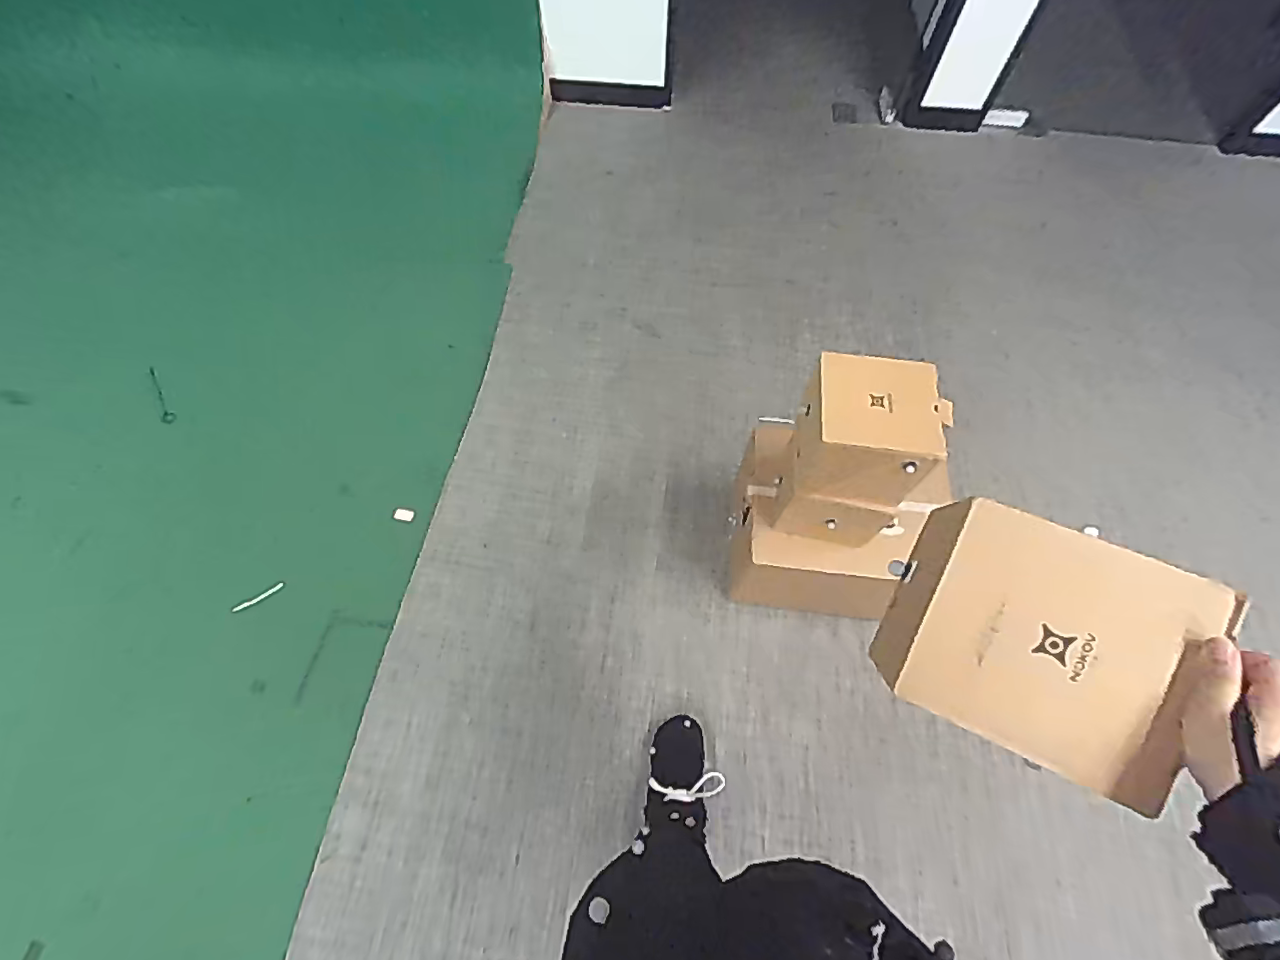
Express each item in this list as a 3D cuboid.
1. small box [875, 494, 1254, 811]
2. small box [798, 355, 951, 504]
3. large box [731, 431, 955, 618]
[{"bbox_3d":[0.323,0.125,0.458,0.179,0.176,0.168,23,89,19],"label":"small box"},{"bbox_3d":[0.356,-0.073,0.858,0.179,0.176,0.168,7,63,3],"label":"small box"},{"bbox_3d":[0.430,0.114,1.221,0.408,0.320,0.320,6,65,2],"label":"large box"}]
